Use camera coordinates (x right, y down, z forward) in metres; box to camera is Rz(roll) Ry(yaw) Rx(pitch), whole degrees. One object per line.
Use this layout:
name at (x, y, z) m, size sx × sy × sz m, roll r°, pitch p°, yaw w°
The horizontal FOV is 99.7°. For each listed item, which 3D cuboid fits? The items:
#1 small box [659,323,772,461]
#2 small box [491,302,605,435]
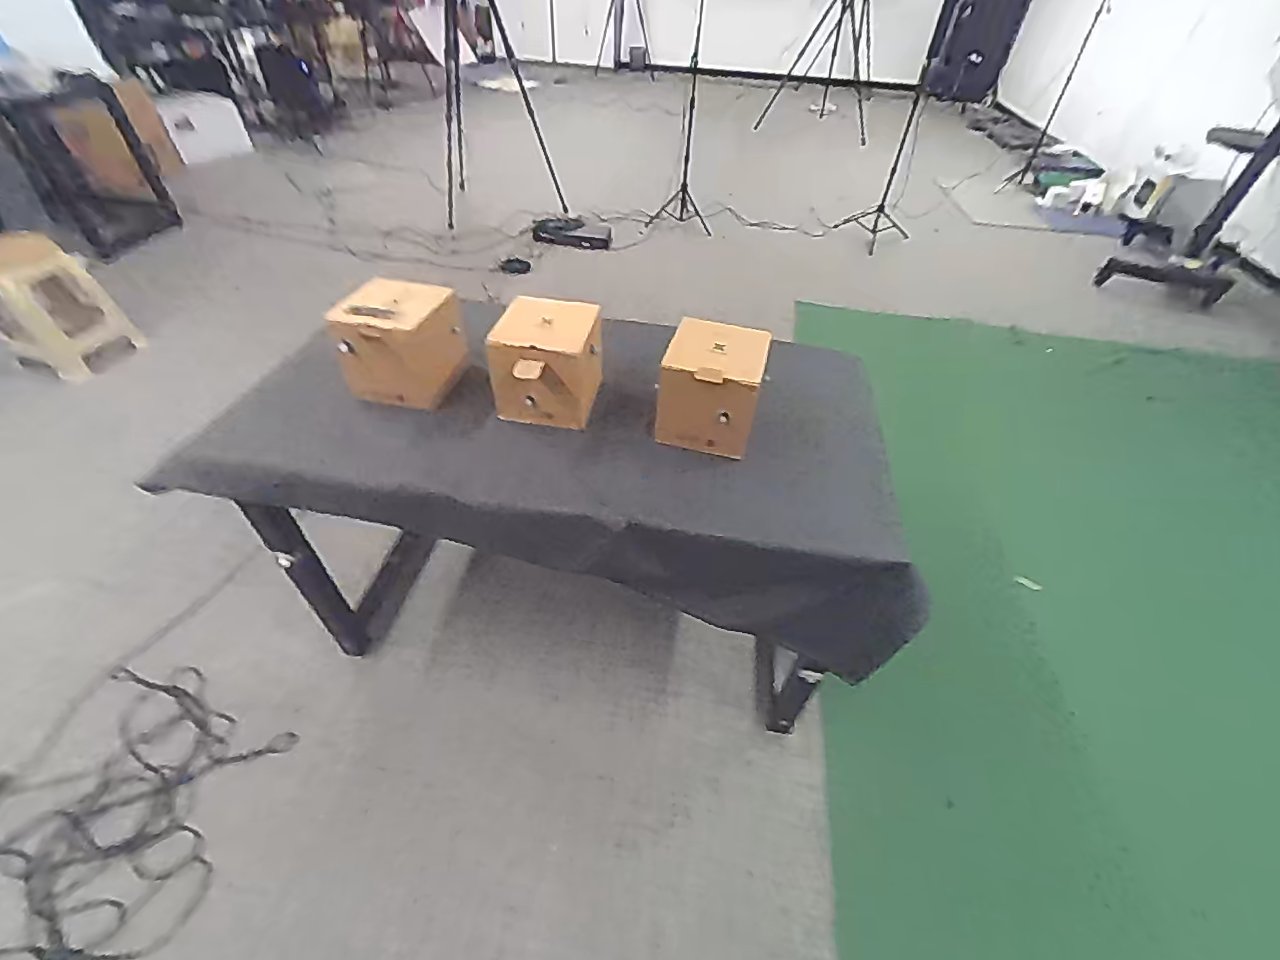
small box at (0.134, -0.158, 0.983) m, size 0.168 × 0.176 × 0.179 m, roll 13°, pitch 44°, yaw 9°
small box at (-0.165, -0.210, 1.021) m, size 0.168 × 0.176 × 0.179 m, roll 8°, pitch 45°, yaw 5°
